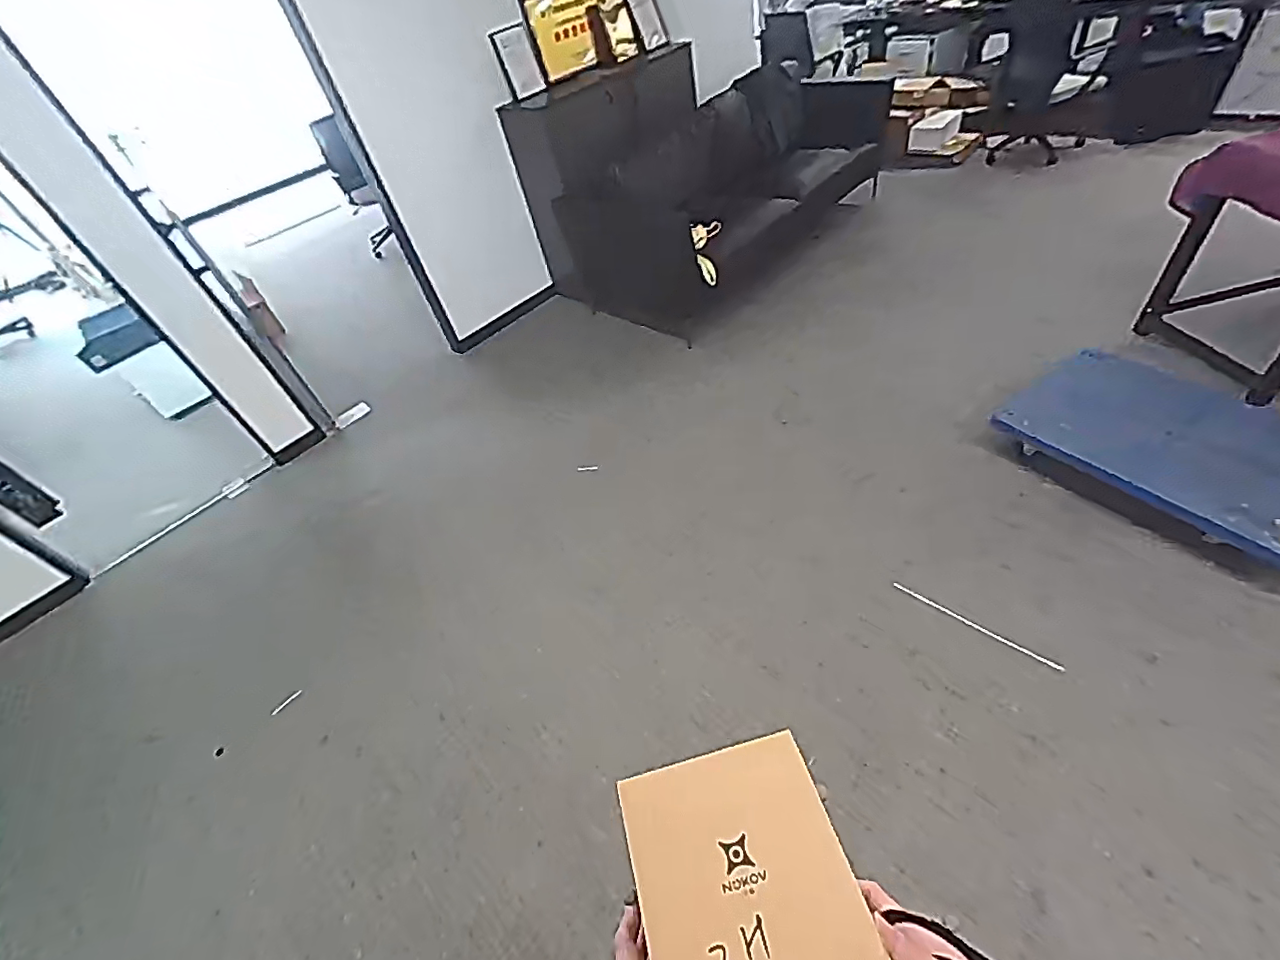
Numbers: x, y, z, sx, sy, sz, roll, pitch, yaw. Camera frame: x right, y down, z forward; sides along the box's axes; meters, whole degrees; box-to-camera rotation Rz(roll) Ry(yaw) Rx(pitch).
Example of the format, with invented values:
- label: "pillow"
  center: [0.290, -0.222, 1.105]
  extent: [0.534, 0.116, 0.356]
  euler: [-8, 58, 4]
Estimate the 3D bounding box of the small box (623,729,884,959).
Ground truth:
- label: "small box"
  center: [0.087, 0.362, 0.489]
  extent: [0.168, 0.176, 0.179]
  euler: [-13, 44, -4]
